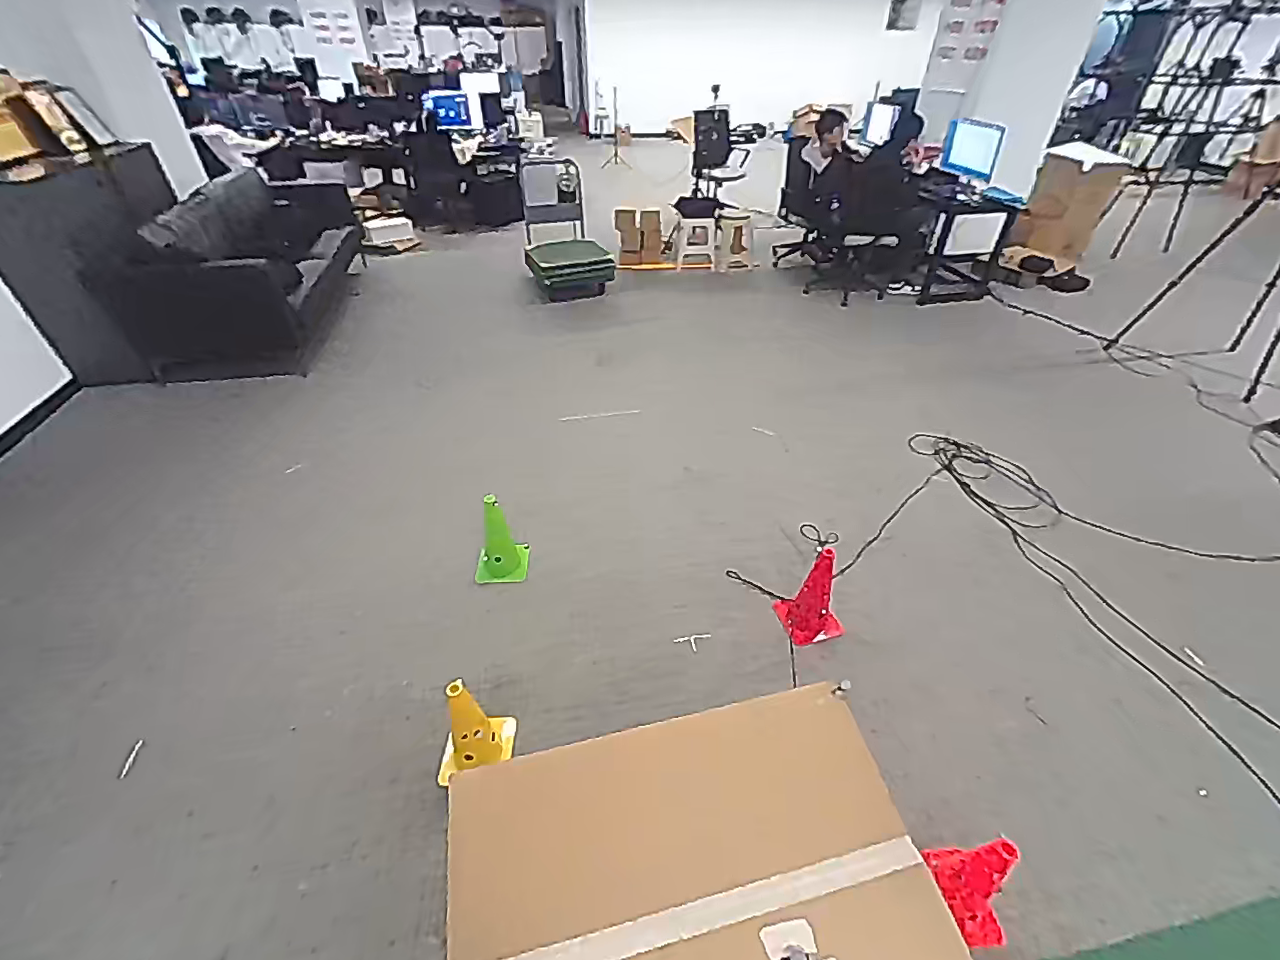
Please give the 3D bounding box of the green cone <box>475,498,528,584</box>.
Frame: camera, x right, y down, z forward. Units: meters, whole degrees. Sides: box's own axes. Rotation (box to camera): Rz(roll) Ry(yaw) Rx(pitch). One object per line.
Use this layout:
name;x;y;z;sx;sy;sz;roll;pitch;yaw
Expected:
green cone;-0.561;0.212;2.089;0.200;0.368;0.202;-3;40;-3

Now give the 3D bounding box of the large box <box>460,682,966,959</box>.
large box;0.052;0.464;0.569;0.408;0.320;0.320;-10;50;-9

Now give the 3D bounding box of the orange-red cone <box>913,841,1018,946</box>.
orange-red cone;0.767;0.907;1.240;0.199;0.360;0.198;0;40;-3
